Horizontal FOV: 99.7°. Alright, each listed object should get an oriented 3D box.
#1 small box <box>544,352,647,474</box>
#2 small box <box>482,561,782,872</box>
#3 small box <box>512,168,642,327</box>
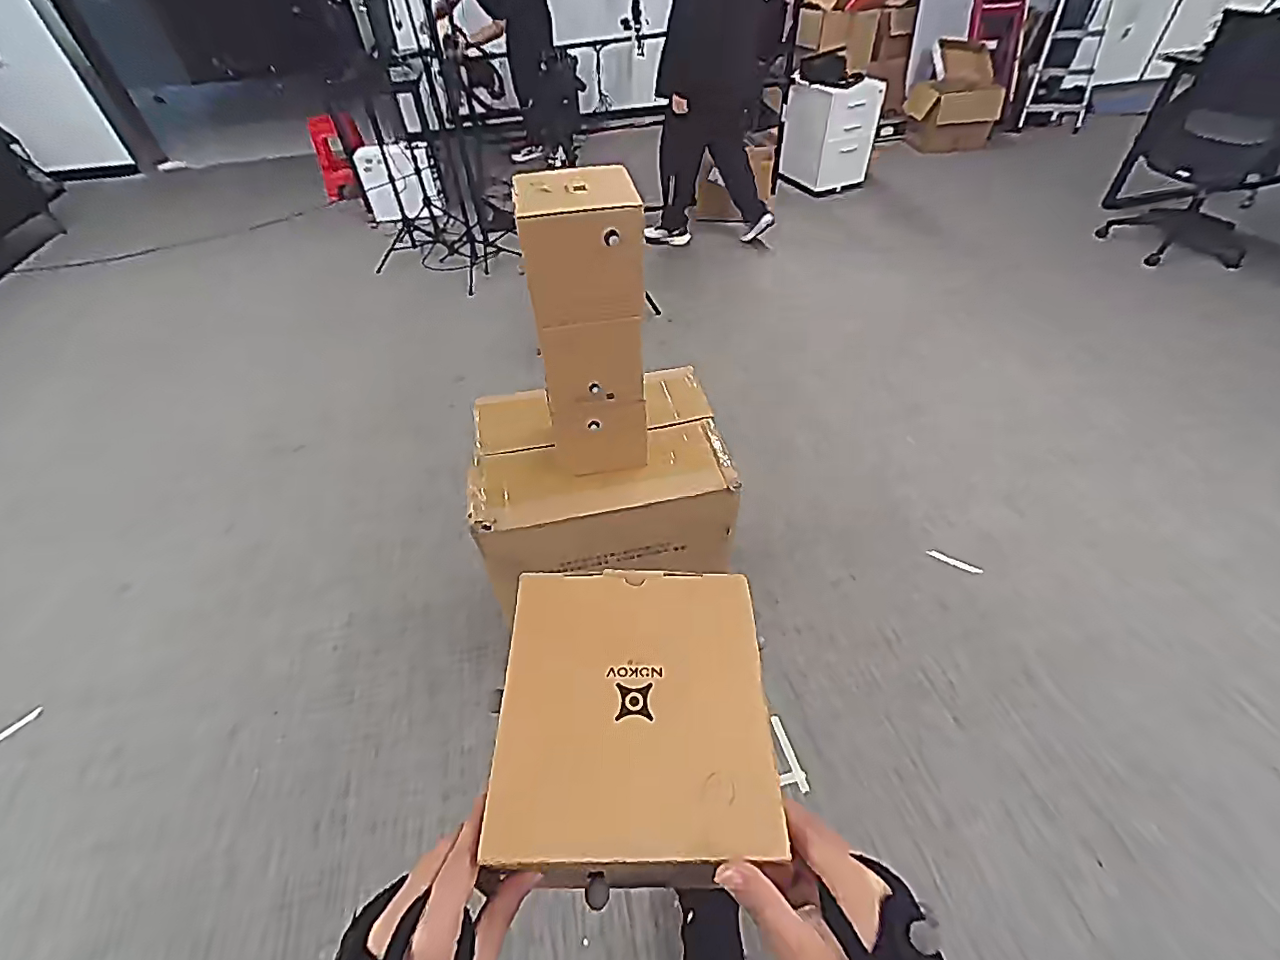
[{"bbox_3d":[-0.087,-0.130,1.077,0.179,0.176,0.168,-9,47,-6],"label":"small box"},{"bbox_3d":[-0.004,0.179,0.402,0.168,0.176,0.179,0,48,-1],"label":"small box"},{"bbox_3d":[-0.095,-0.359,0.841,0.179,0.176,0.168,-10,47,-6],"label":"small box"}]
